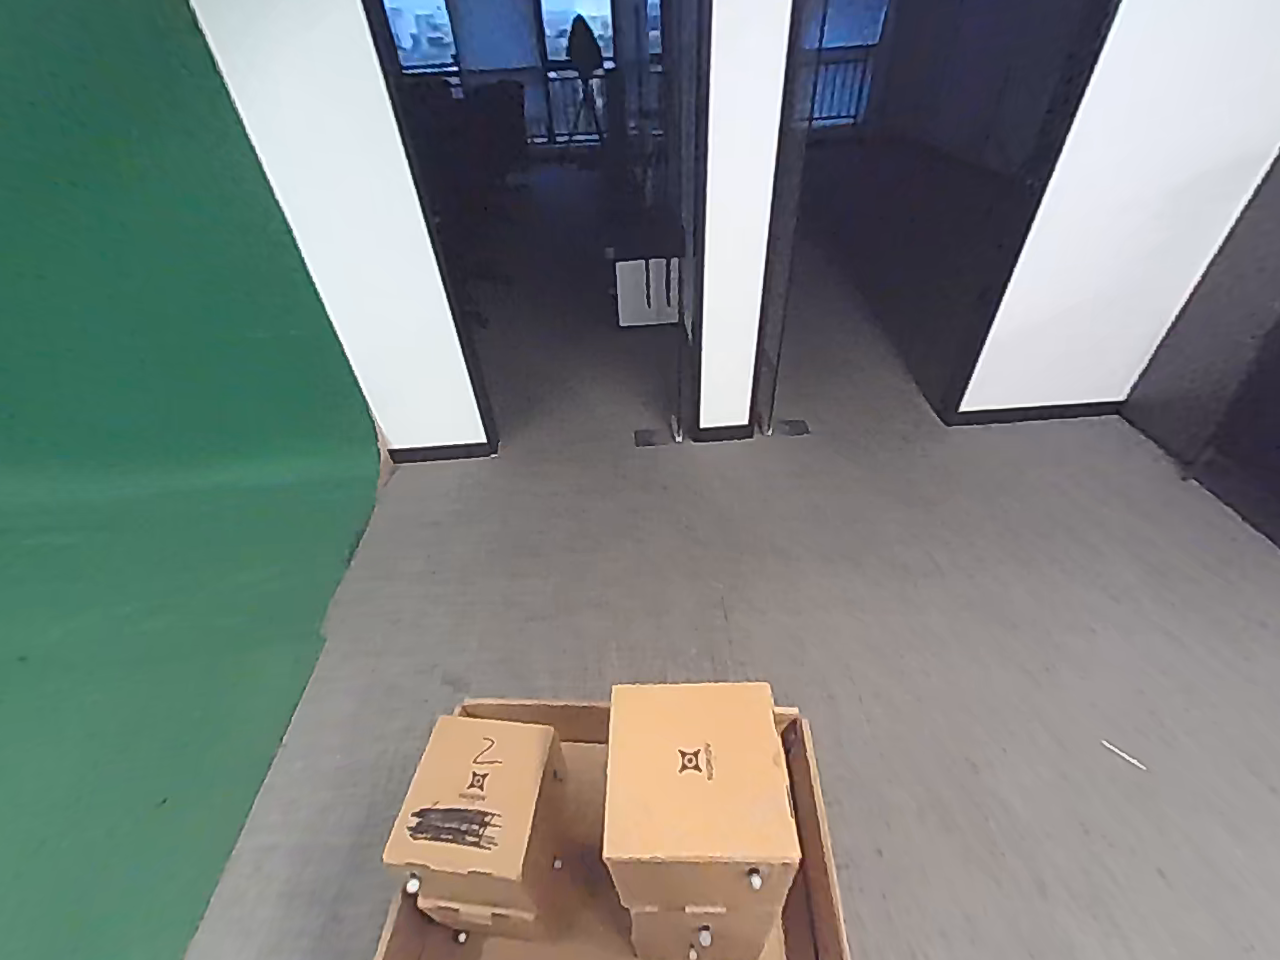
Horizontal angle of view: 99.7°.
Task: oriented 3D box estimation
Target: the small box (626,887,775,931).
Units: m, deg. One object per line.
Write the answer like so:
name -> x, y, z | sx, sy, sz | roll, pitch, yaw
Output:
small box -> 0.072, 0.459, 0.697 | 0.168, 0.176, 0.179 | -2, 42, 2

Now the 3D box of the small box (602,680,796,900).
small box -> 0.059, 0.337, 0.589 | 0.179, 0.176, 0.168 | -1, 41, 2
